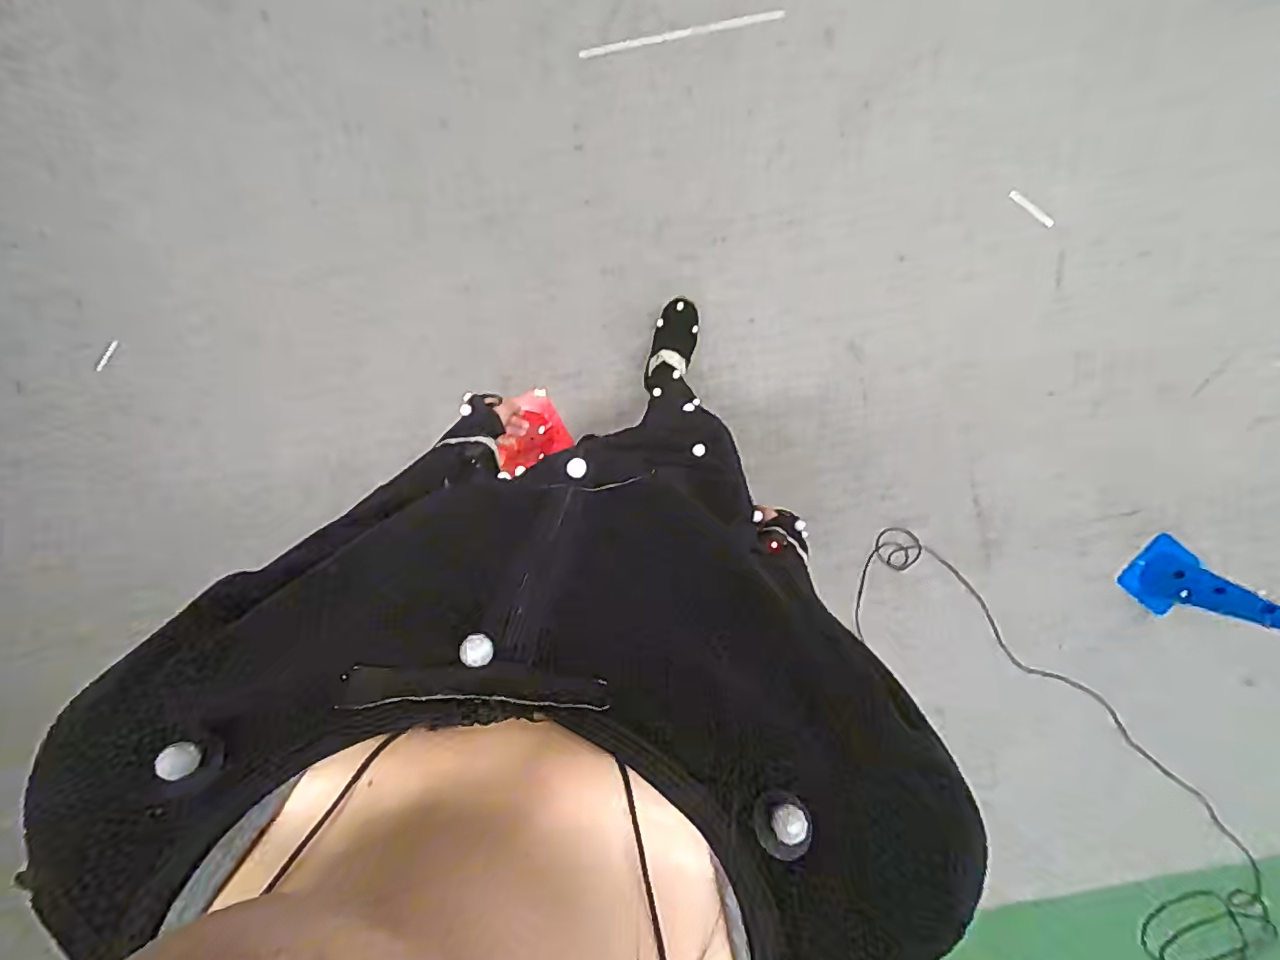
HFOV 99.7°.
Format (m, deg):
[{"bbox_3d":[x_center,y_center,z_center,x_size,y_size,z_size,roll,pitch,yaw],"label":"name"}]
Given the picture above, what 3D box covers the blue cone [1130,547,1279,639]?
[{"bbox_3d":[1.545,0.334,1.413,0.192,0.380,0.193,34,98,-7],"label":"blue cone"}]
